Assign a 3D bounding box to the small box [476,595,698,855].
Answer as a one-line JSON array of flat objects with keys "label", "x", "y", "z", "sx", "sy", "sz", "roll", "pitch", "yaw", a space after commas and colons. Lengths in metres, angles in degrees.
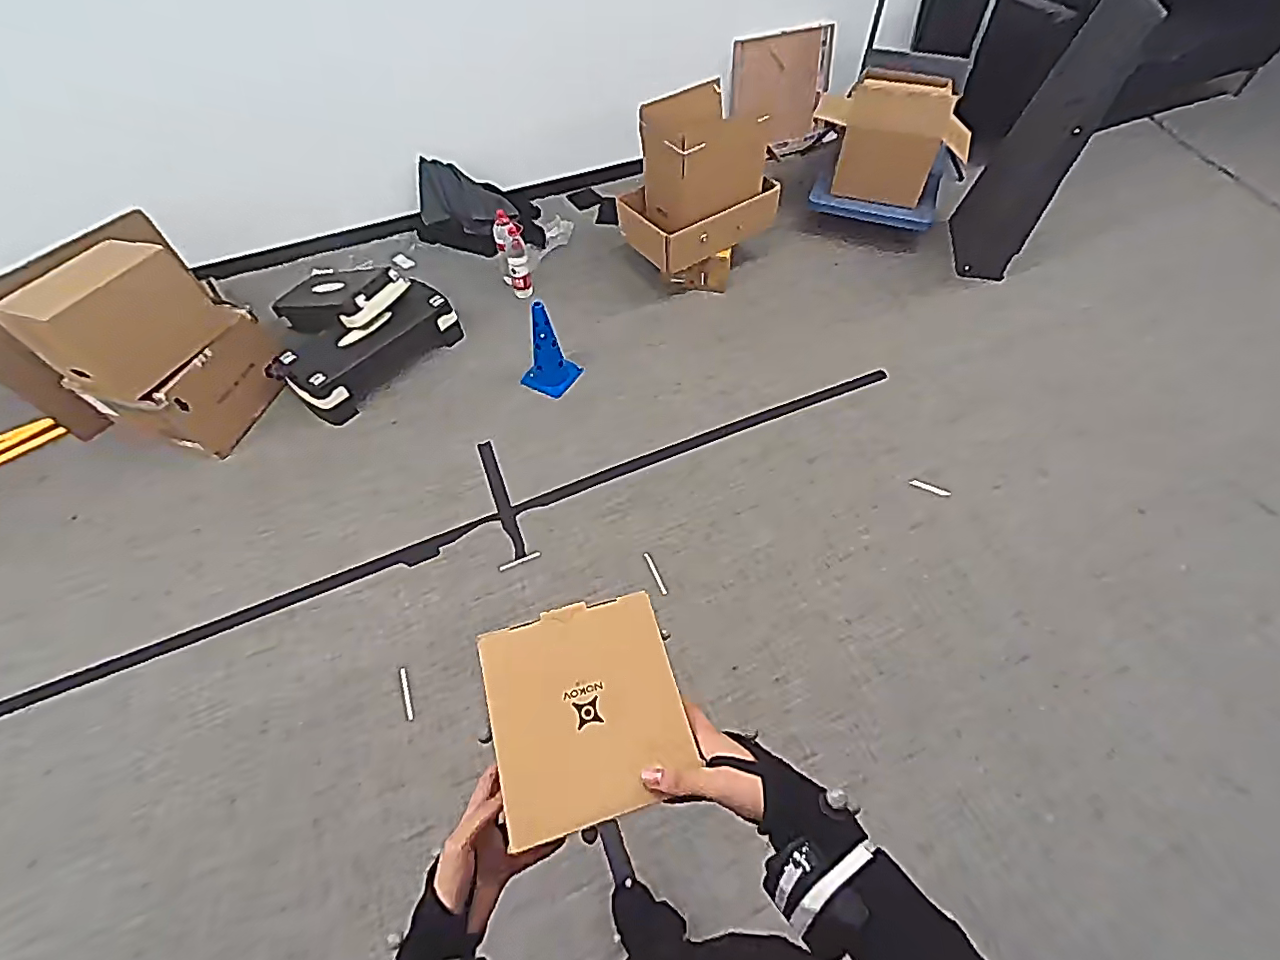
[{"label": "small box", "x": -0.055, "y": 0.240, "z": 0.541, "sx": 0.168, "sy": 0.176, "sz": 0.179, "roll": -13, "pitch": 61, "yaw": -12}]
